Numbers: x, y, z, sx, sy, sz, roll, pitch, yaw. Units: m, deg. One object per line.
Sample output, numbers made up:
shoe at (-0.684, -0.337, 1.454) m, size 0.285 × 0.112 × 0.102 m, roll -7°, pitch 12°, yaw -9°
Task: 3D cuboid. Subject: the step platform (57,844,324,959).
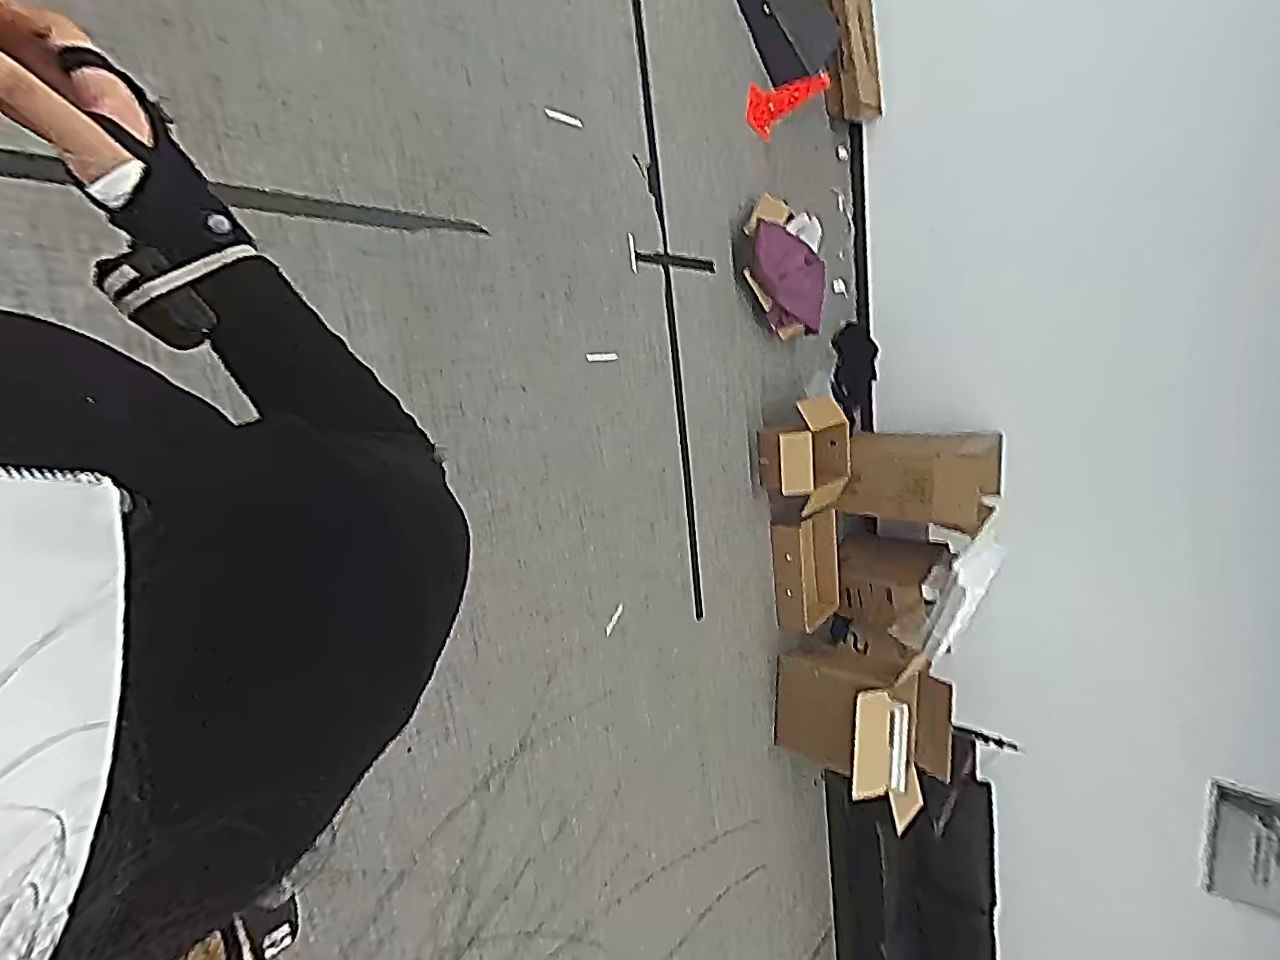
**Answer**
step platform at (-0.917, 0.949, 0.869) m, size 0.684 × 0.204 × 0.286 m, roll -19°, pitch 107°, yaw -43°
